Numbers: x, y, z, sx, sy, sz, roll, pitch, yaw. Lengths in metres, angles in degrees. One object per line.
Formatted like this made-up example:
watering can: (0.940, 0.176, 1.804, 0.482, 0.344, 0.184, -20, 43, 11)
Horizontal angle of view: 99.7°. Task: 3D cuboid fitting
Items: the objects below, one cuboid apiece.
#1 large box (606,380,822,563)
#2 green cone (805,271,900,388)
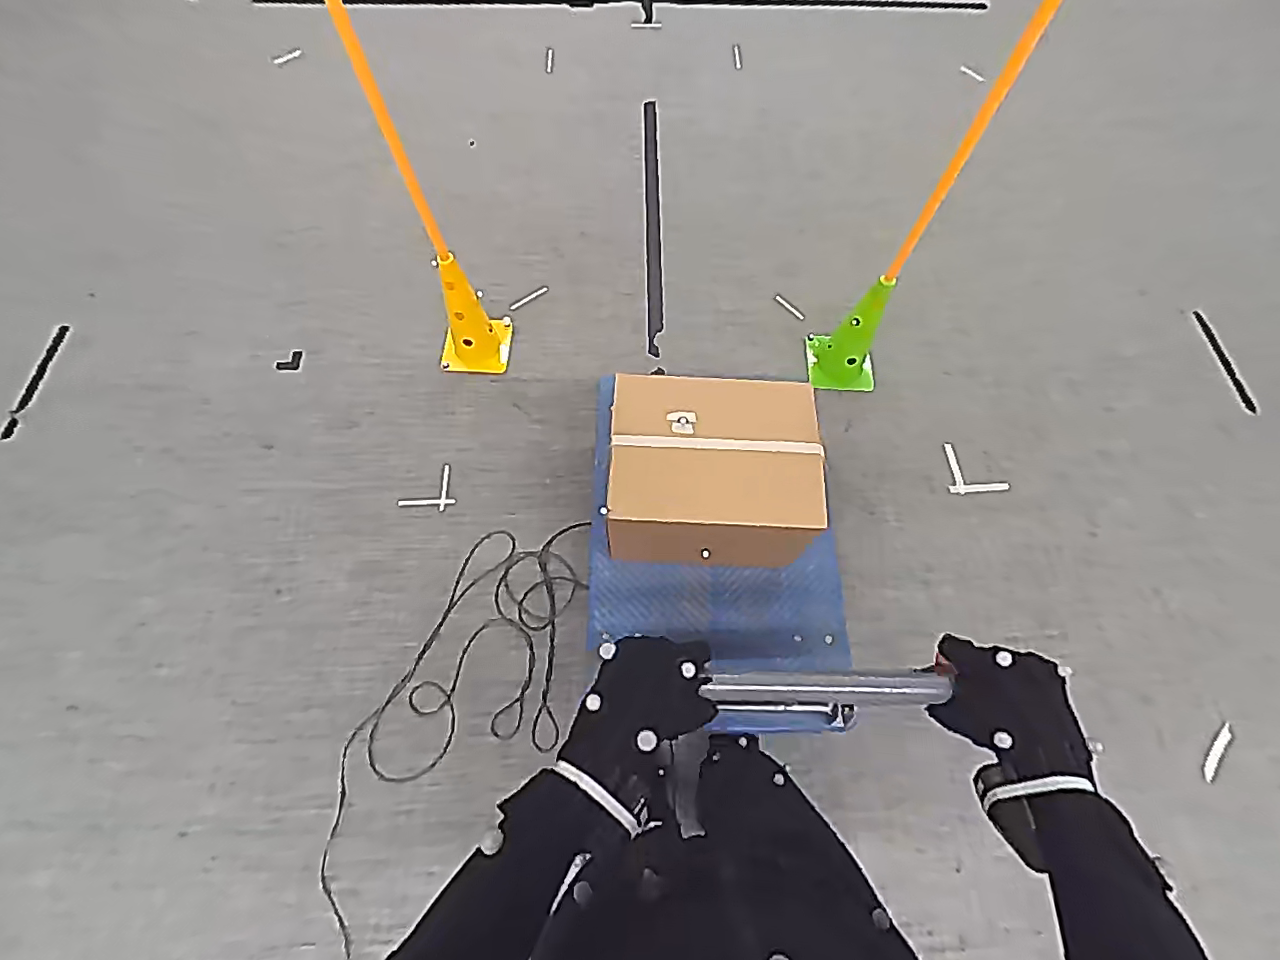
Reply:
large box: (0.140, -0.003, 1.182, 0.408, 0.320, 0.320, 2, 67, 1)
green cone: (0.631, -0.445, 1.543, 0.202, 0.368, 0.200, 3, 67, -1)
